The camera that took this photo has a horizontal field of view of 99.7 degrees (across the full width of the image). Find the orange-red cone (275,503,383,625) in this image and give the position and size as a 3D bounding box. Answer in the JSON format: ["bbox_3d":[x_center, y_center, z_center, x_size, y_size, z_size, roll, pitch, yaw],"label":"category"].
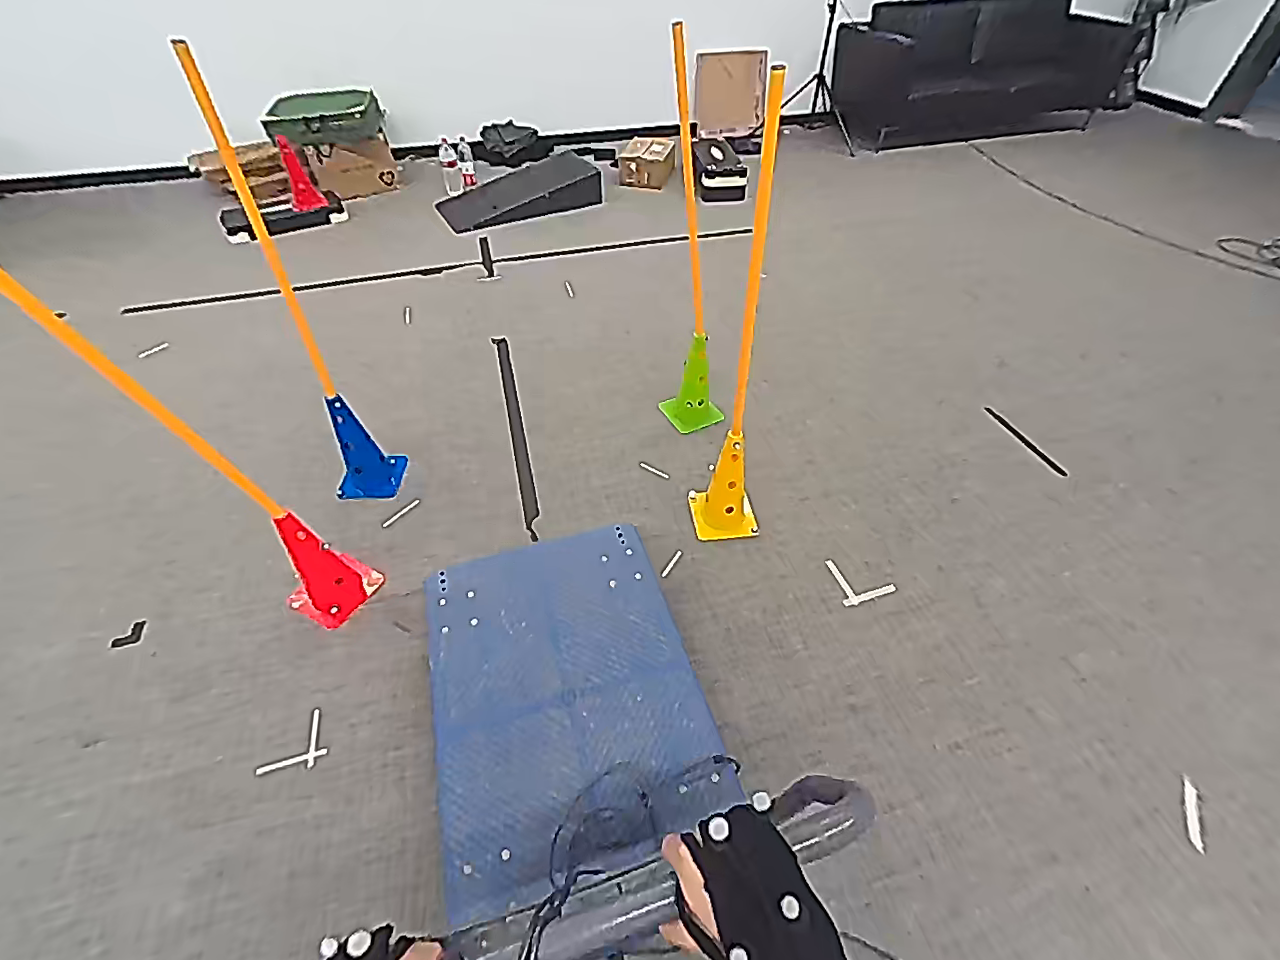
[{"bbox_3d":[-0.874,0.191,1.444,0.198,0.360,0.199,23,50,19],"label":"orange-red cone"}]

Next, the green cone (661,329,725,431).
[{"bbox_3d":[0.210,-0.392,1.995,0.200,0.368,0.202,-22,52,-20],"label":"green cone"}]

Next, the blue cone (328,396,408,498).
[{"bbox_3d":[-0.916,-0.122,1.756,0.193,0.380,0.192,0,48,-1],"label":"blue cone"}]
